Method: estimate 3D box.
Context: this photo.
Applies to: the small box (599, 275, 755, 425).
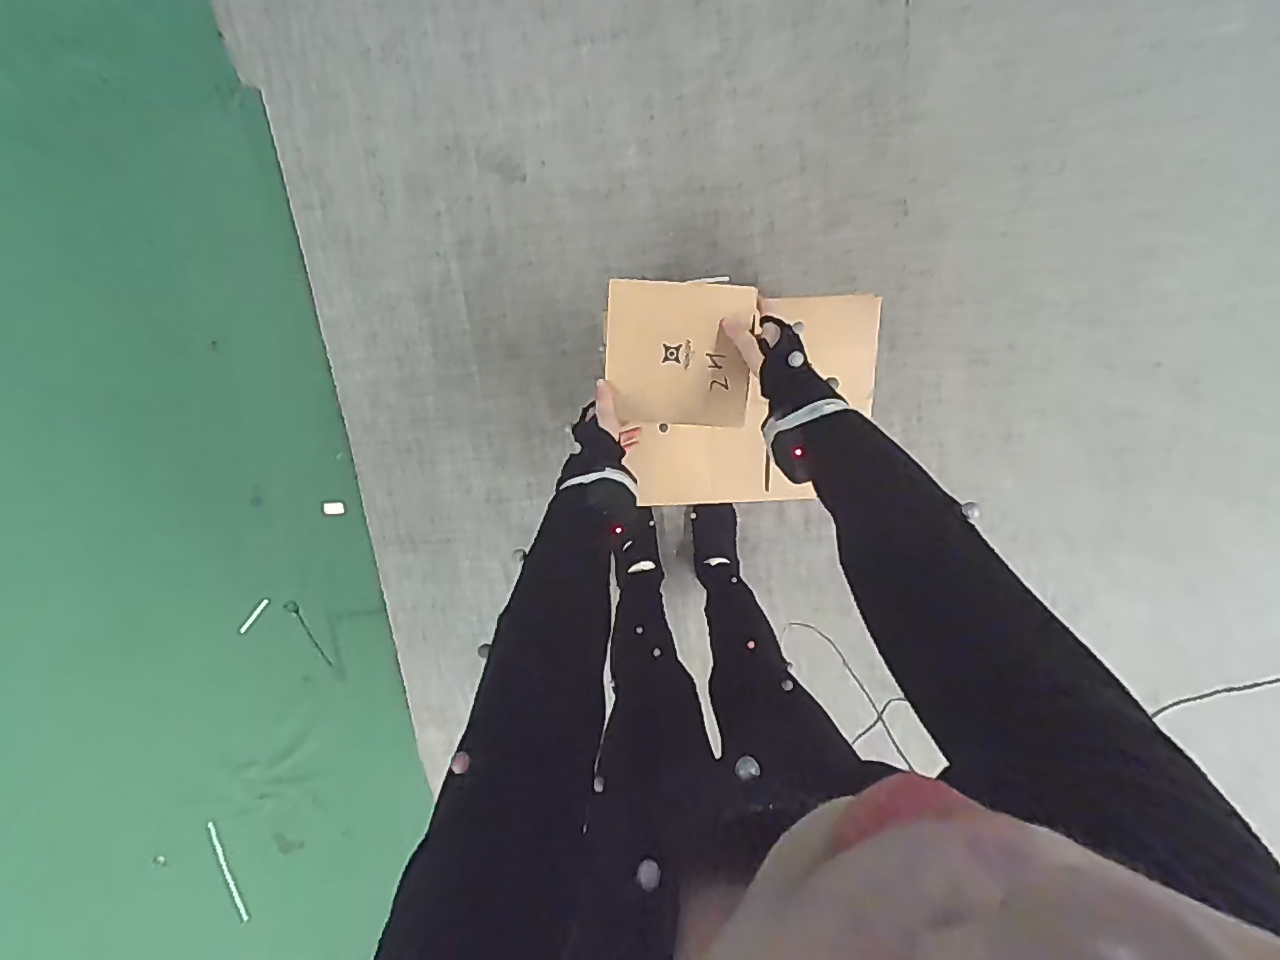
[{"bbox_3d":[0.043,-0.167,0.717,0.179,0.176,0.168,3,102,-1],"label":"small box"}]
